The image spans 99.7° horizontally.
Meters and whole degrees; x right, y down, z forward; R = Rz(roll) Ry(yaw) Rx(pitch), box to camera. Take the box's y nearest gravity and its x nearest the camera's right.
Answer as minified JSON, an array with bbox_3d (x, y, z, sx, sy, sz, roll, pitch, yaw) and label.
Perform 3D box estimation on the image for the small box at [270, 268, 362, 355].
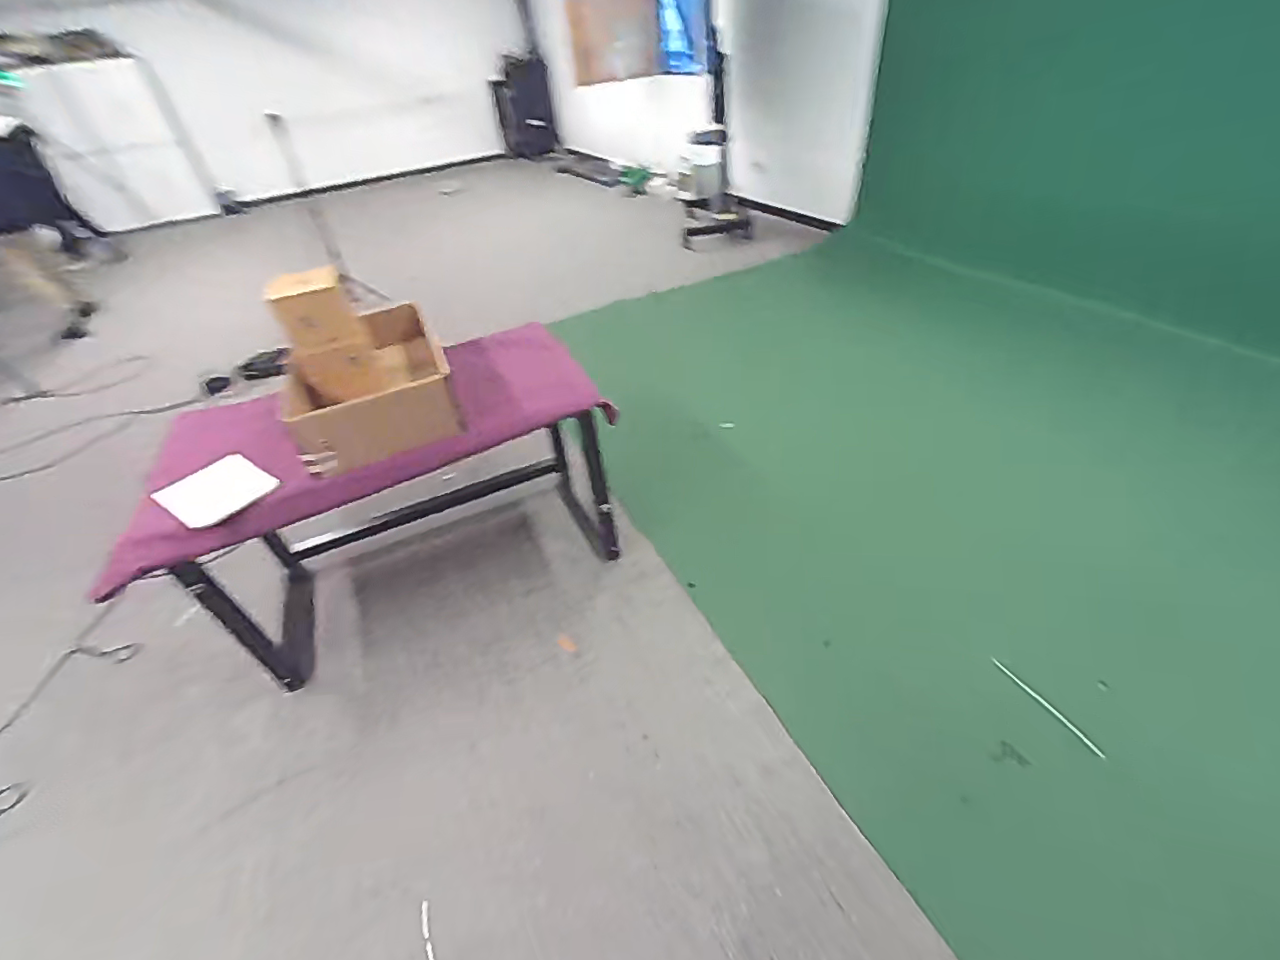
[{"bbox_3d":[-0.892,-0.463,1.504,0.168,0.176,0.179,-19,42,-14],"label":"small box"}]
